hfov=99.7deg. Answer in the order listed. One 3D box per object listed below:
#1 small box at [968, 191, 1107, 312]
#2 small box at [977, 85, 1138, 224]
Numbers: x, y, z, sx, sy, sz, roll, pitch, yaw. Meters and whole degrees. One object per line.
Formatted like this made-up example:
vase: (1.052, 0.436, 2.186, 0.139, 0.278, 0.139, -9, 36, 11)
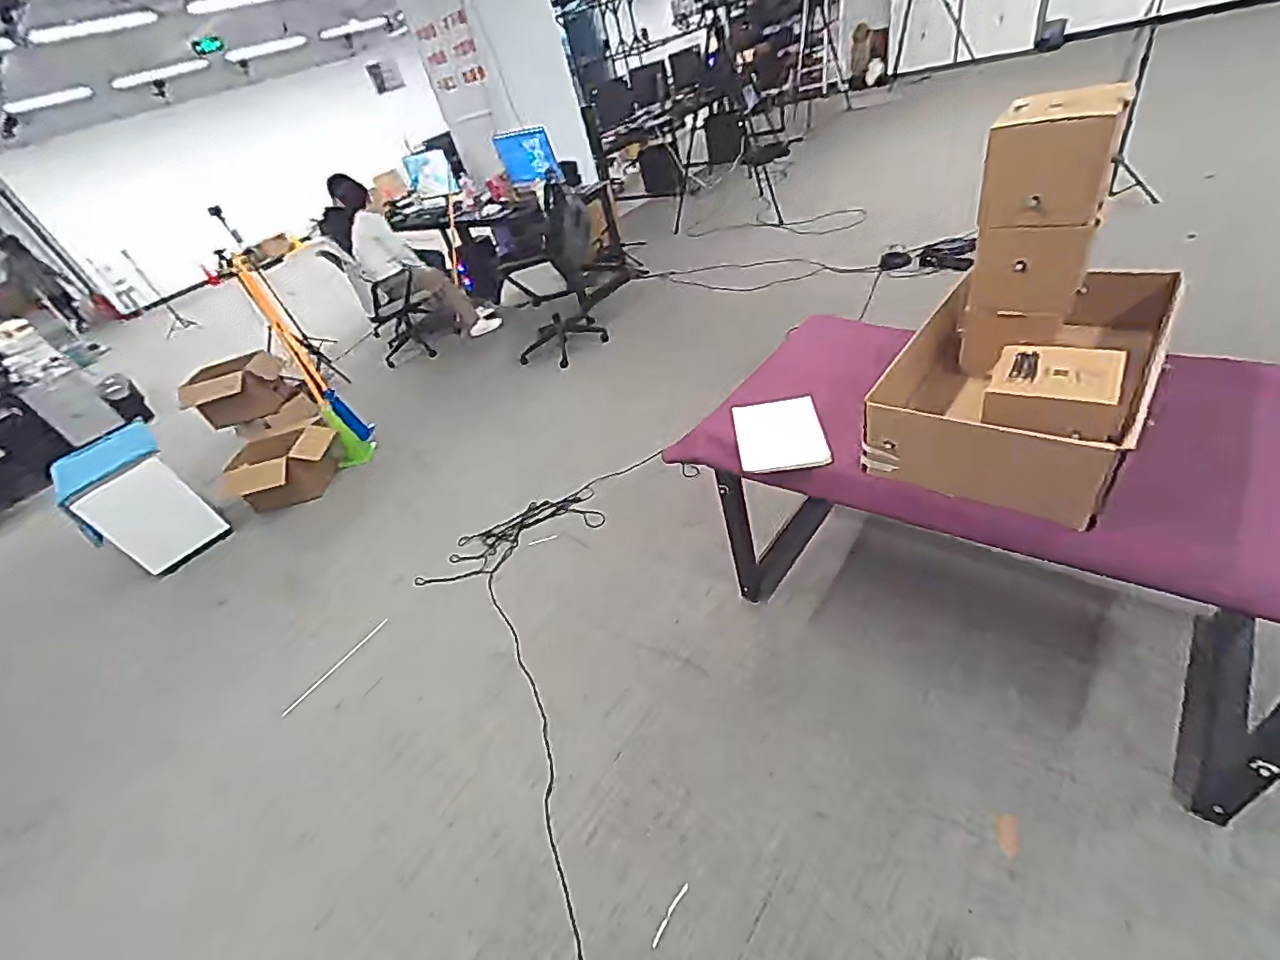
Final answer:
small box: (0.774, -0.447, 1.064, 0.179, 0.176, 0.168, 18, 52, 37)
small box: (0.733, -0.570, 0.964, 0.179, 0.176, 0.168, 21, 53, 37)
